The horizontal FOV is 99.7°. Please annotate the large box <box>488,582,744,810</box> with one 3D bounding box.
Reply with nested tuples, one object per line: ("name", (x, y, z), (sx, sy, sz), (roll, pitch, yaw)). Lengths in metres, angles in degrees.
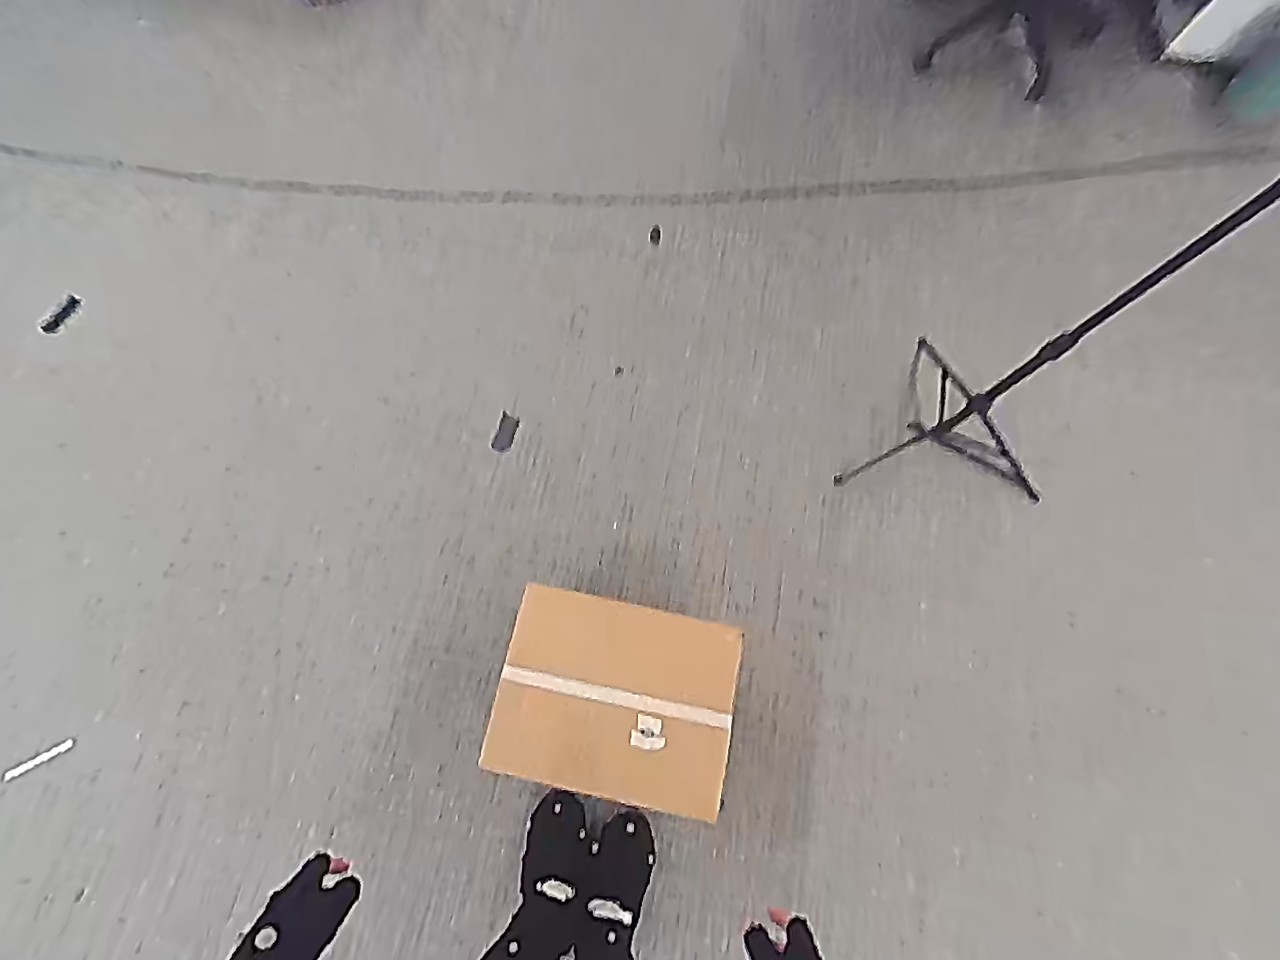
("large box", (-0.039, 0.410, 1.080), (0.408, 0.320, 0.320), (12, 73, 2))
